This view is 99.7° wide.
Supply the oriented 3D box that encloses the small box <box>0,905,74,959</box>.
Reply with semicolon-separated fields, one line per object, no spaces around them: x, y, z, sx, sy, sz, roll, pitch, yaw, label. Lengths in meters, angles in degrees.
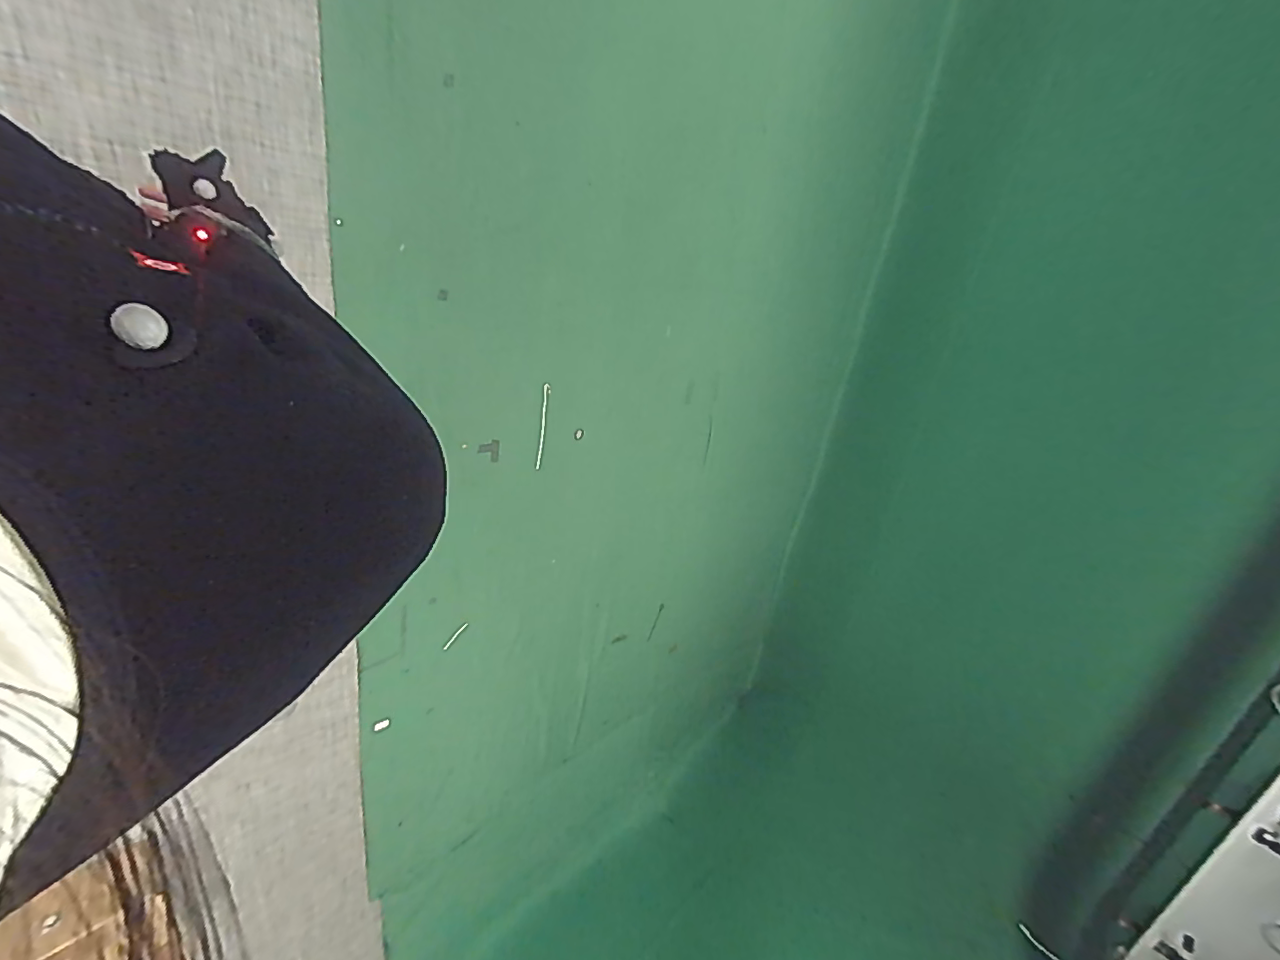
-1.455;1.159;1.257;0.179;0.176;0.168;-18;127;-45;small box
